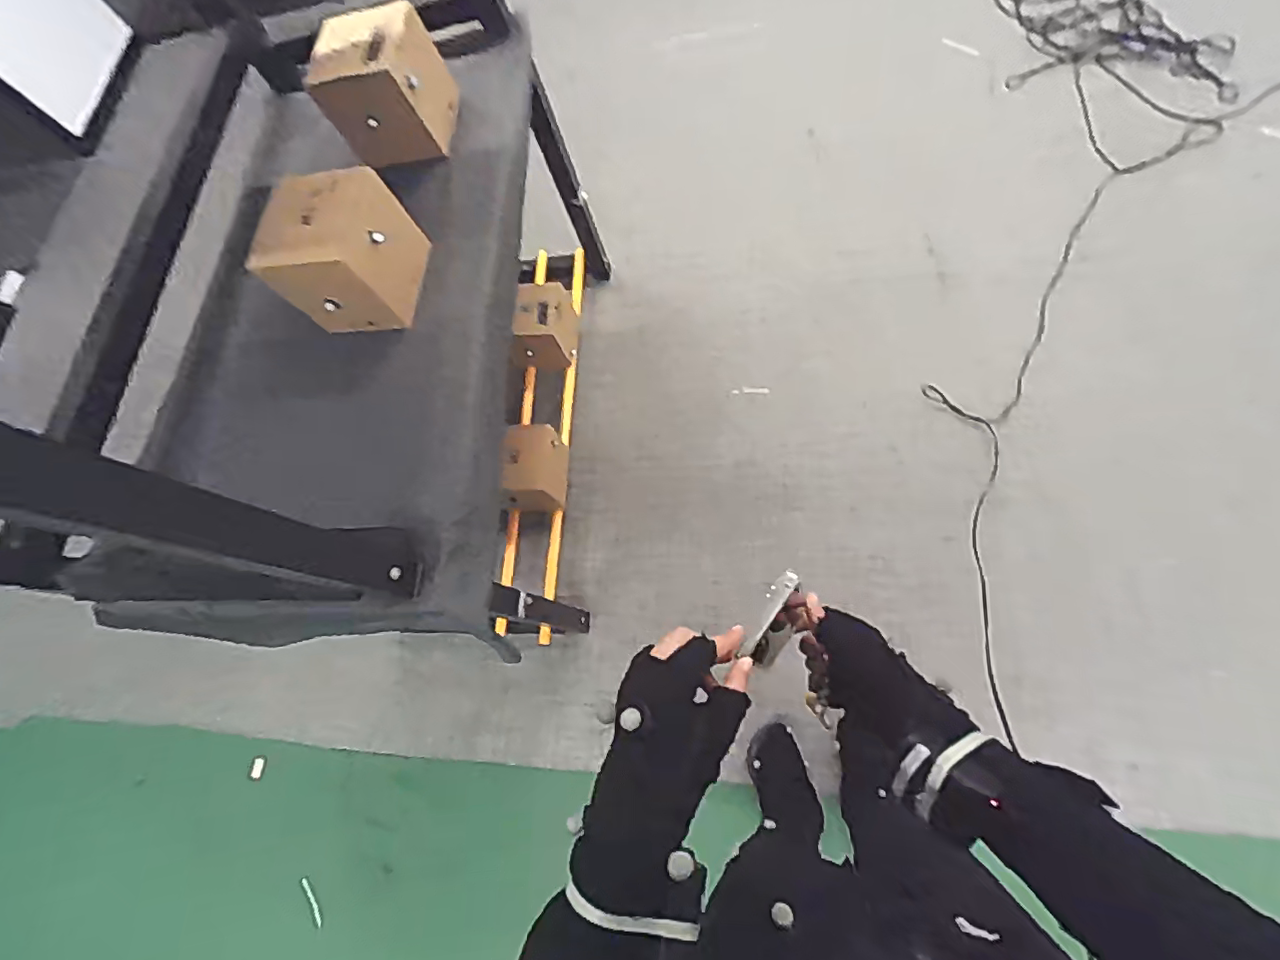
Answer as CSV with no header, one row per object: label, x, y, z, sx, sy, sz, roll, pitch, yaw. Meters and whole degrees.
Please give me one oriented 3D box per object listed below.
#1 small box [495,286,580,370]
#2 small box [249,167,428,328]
small box,-0.281,-0.424,1.528,0.179,0.176,0.168,1,71,13
small box,-0.468,-0.359,0.870,0.168,0.176,0.179,1,71,13
